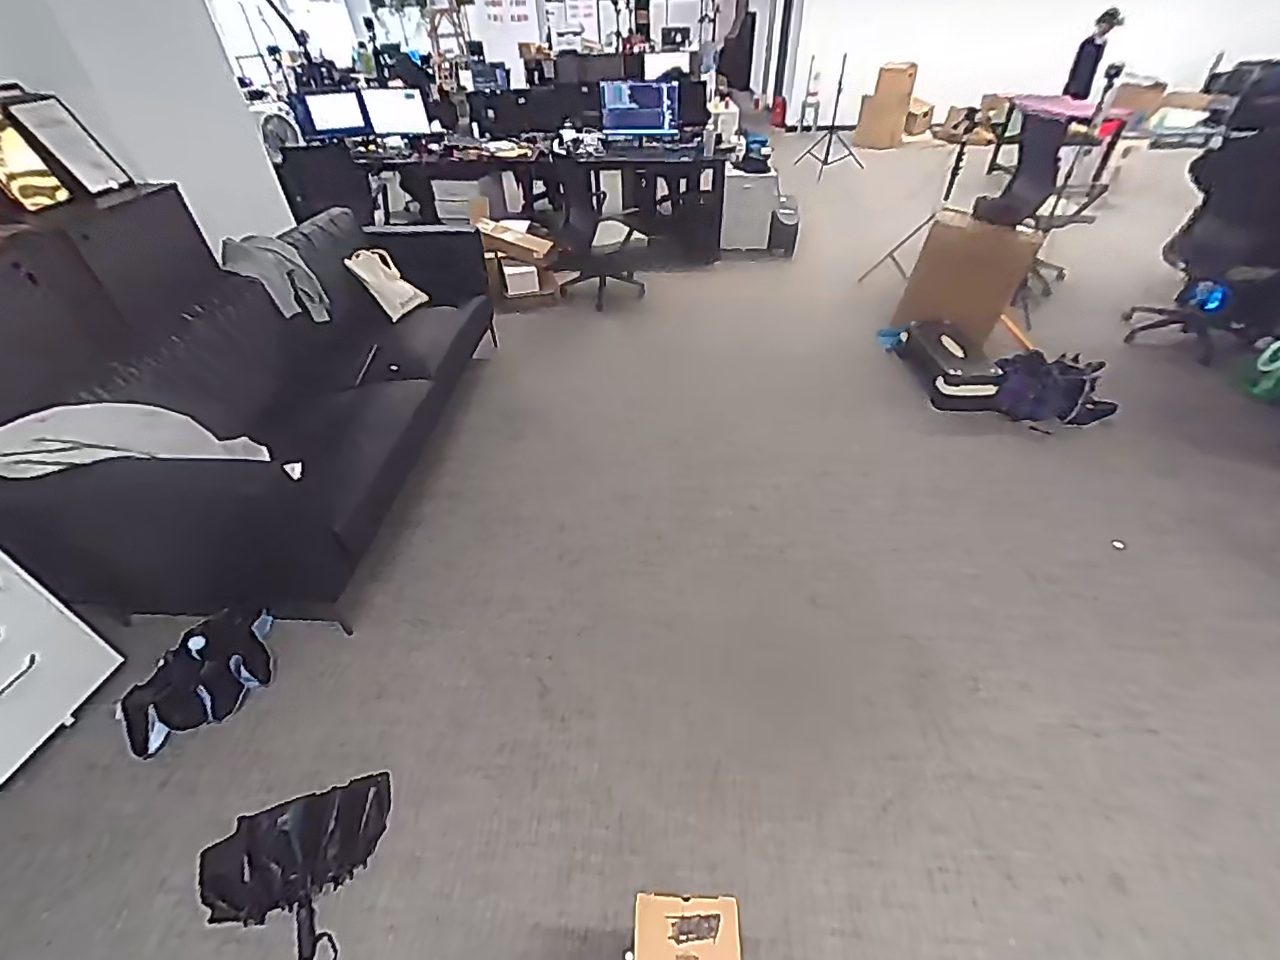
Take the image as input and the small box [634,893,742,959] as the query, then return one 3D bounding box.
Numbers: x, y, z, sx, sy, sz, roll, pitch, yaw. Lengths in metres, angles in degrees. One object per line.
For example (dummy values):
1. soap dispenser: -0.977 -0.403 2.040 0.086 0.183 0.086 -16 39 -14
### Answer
1. small box: 0.073 0.790 0.864 0.168 0.176 0.179 1 44 2
